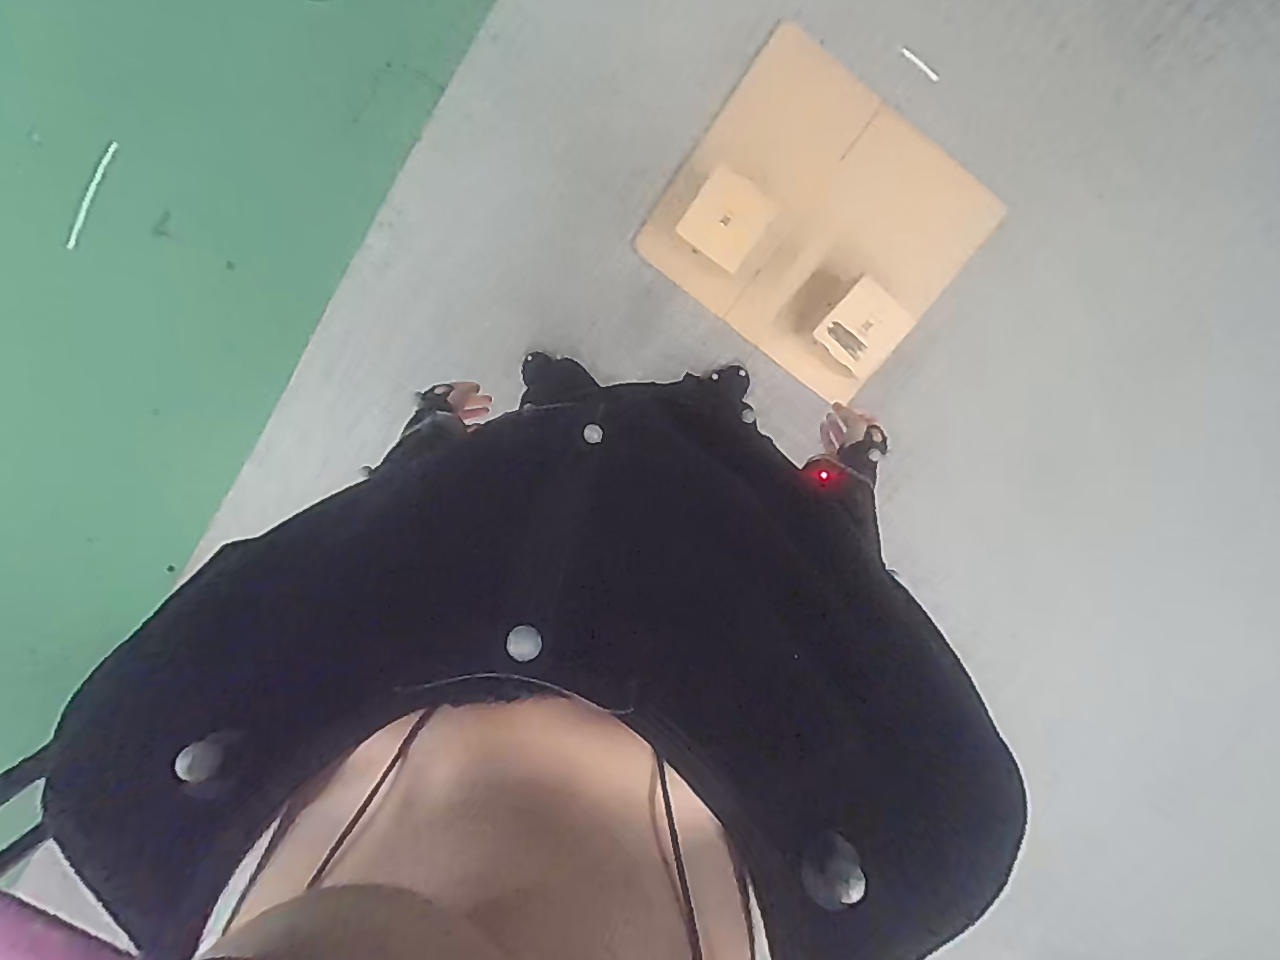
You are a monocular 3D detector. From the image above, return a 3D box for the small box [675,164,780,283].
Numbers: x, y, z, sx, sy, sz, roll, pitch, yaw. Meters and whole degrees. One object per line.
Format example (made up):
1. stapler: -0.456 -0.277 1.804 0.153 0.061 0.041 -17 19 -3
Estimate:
1. small box: 0.197 -0.584 1.263 0.168 0.176 0.179 34 102 -6
